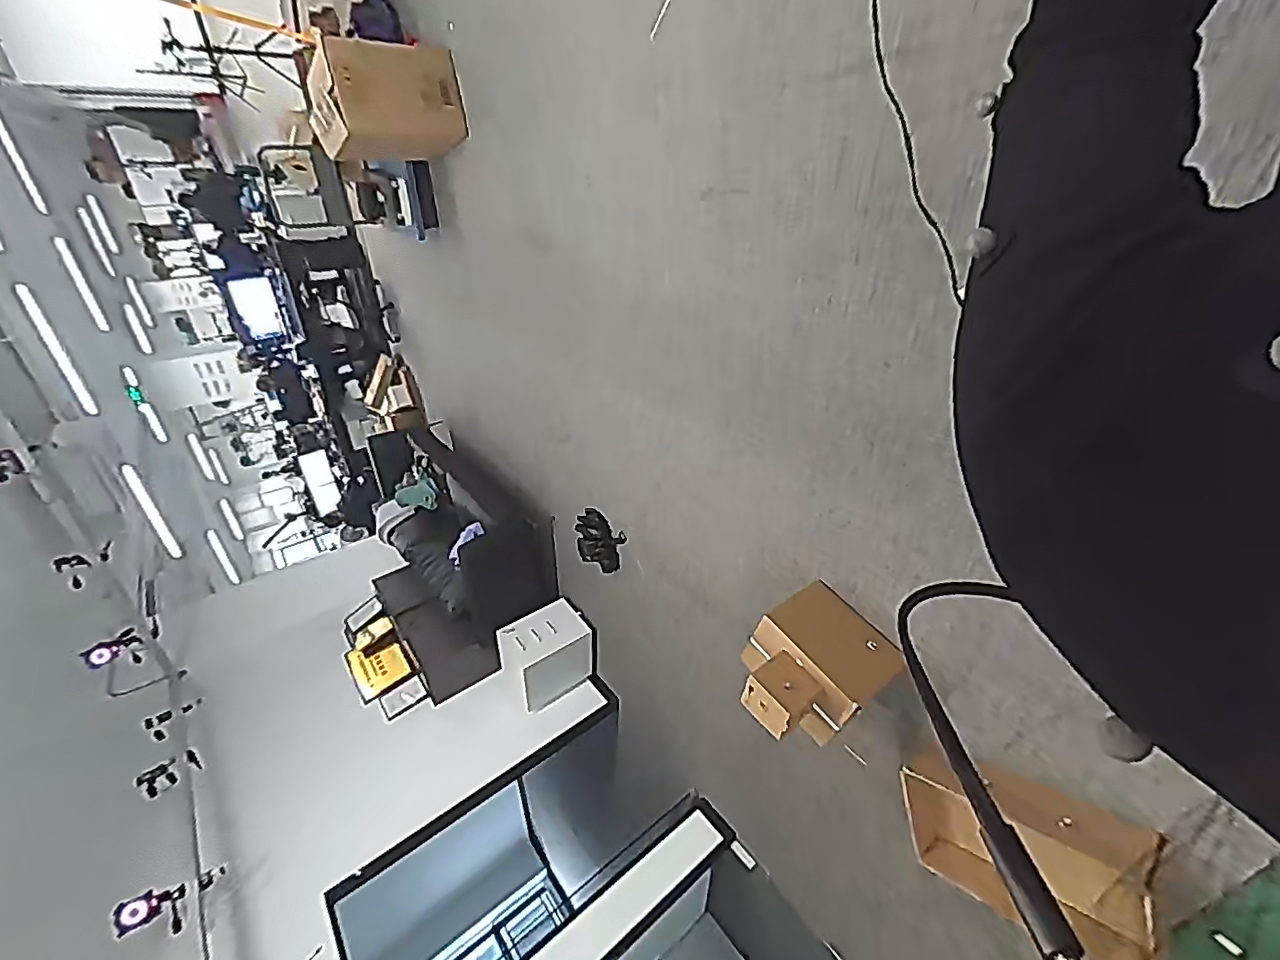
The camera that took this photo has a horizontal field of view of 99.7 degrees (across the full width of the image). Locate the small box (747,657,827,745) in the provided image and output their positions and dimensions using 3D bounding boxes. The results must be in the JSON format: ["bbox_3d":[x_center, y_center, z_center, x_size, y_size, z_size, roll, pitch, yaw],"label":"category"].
[{"bbox_3d":[0.490,0.729,1.801,0.179,0.176,0.168,39,138,36],"label":"small box"}]
